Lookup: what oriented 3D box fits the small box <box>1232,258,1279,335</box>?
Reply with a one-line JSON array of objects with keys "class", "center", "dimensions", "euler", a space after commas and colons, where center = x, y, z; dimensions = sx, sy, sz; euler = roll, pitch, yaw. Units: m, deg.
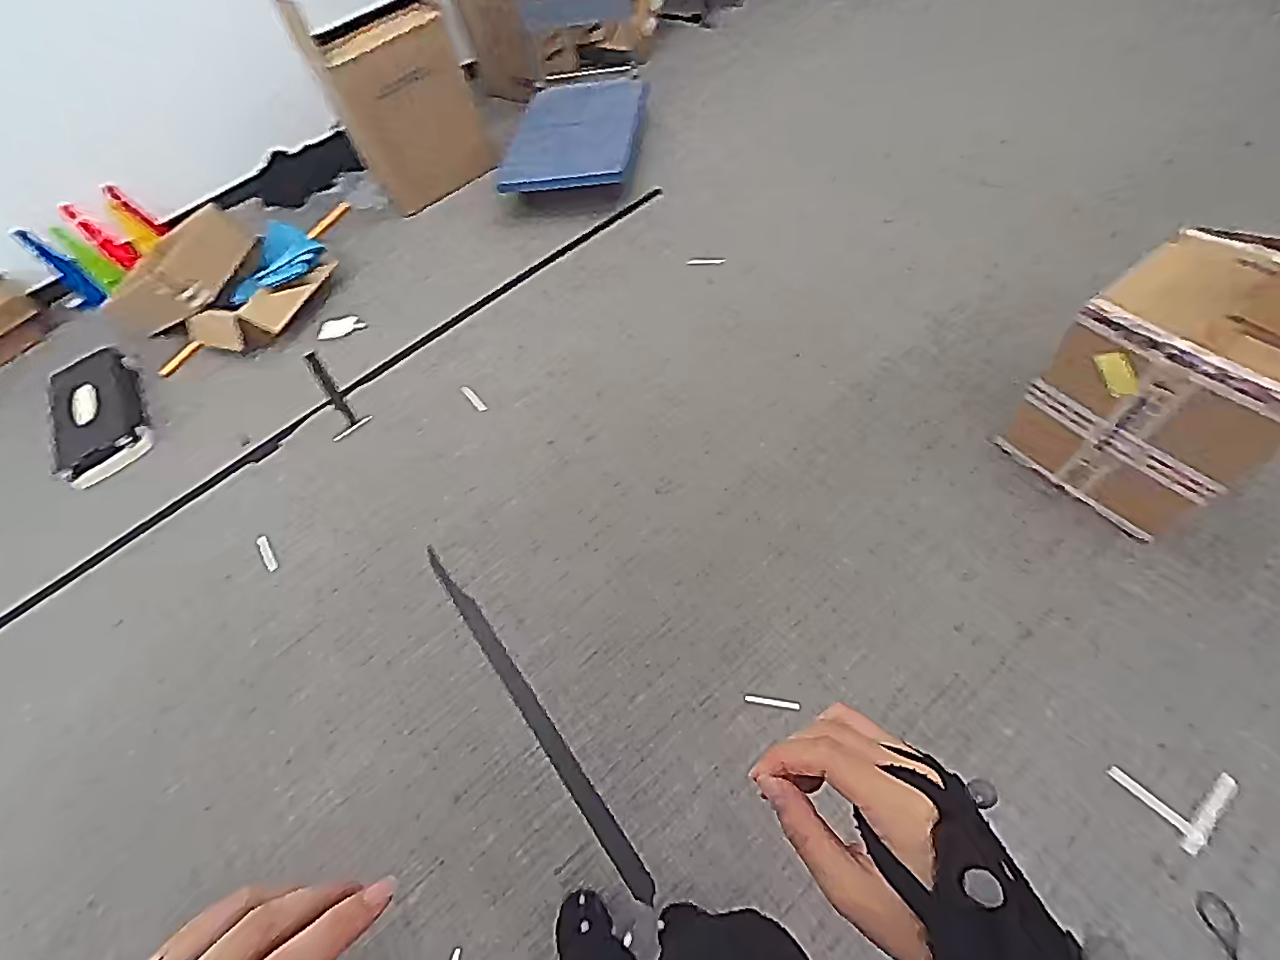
[{"class": "small box", "center": [1.169, -0.334, 0.890], "dimensions": [0.168, 0.176, 0.179], "euler": [-34, 60, -8]}]
